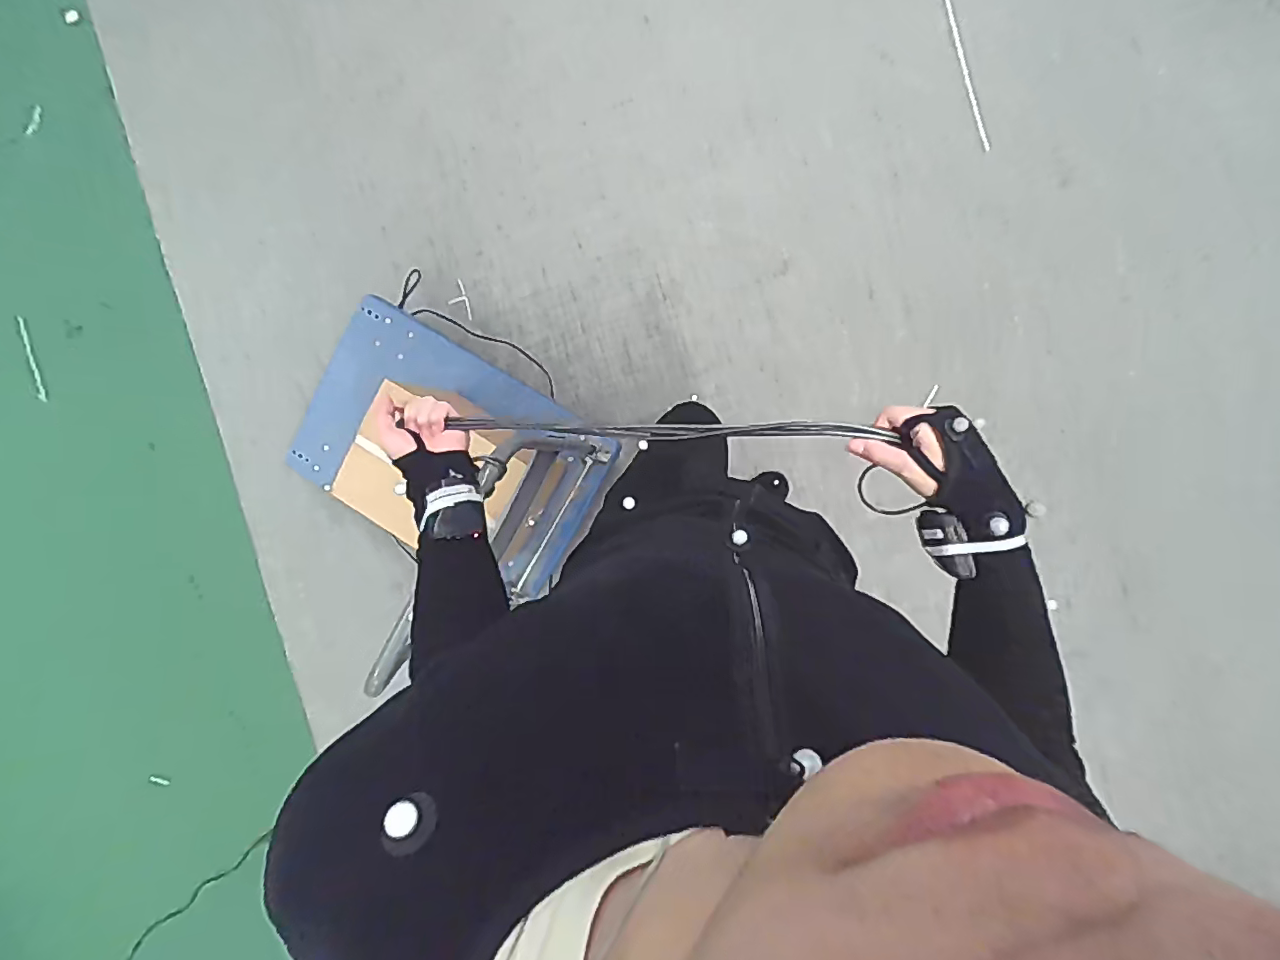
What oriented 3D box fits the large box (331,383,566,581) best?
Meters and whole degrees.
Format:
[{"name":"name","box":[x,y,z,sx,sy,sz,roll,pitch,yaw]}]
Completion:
[{"name":"large box","box":[-0.461,-0.005,1.375,0.408,0.320,0.320,31,97,6]}]
